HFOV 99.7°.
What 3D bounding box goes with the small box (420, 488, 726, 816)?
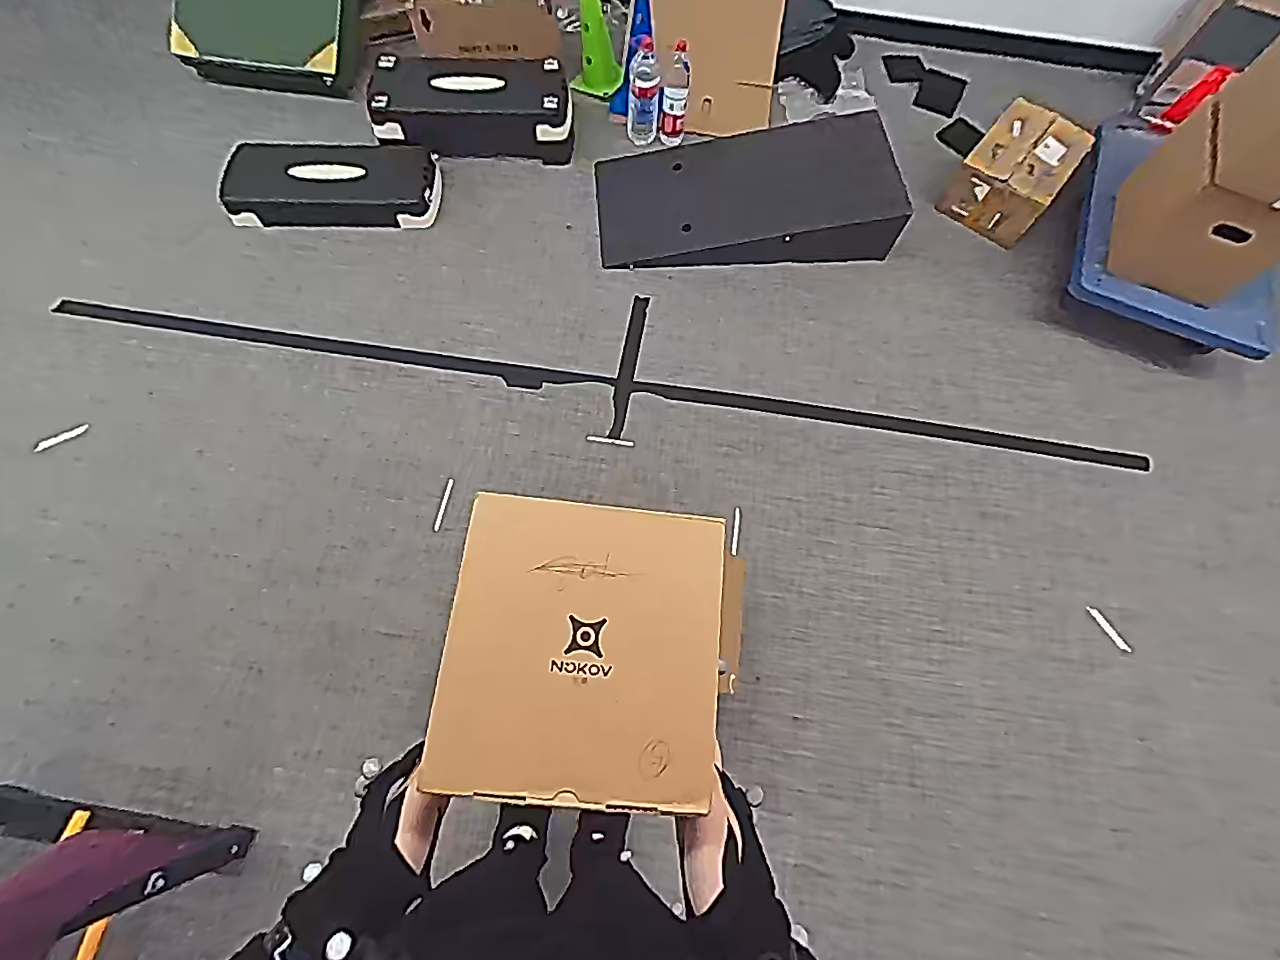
[{"bbox_3d":[-0.039,0.122,0.403,0.168,0.176,0.179,8,71,-3],"label":"small box"}]
